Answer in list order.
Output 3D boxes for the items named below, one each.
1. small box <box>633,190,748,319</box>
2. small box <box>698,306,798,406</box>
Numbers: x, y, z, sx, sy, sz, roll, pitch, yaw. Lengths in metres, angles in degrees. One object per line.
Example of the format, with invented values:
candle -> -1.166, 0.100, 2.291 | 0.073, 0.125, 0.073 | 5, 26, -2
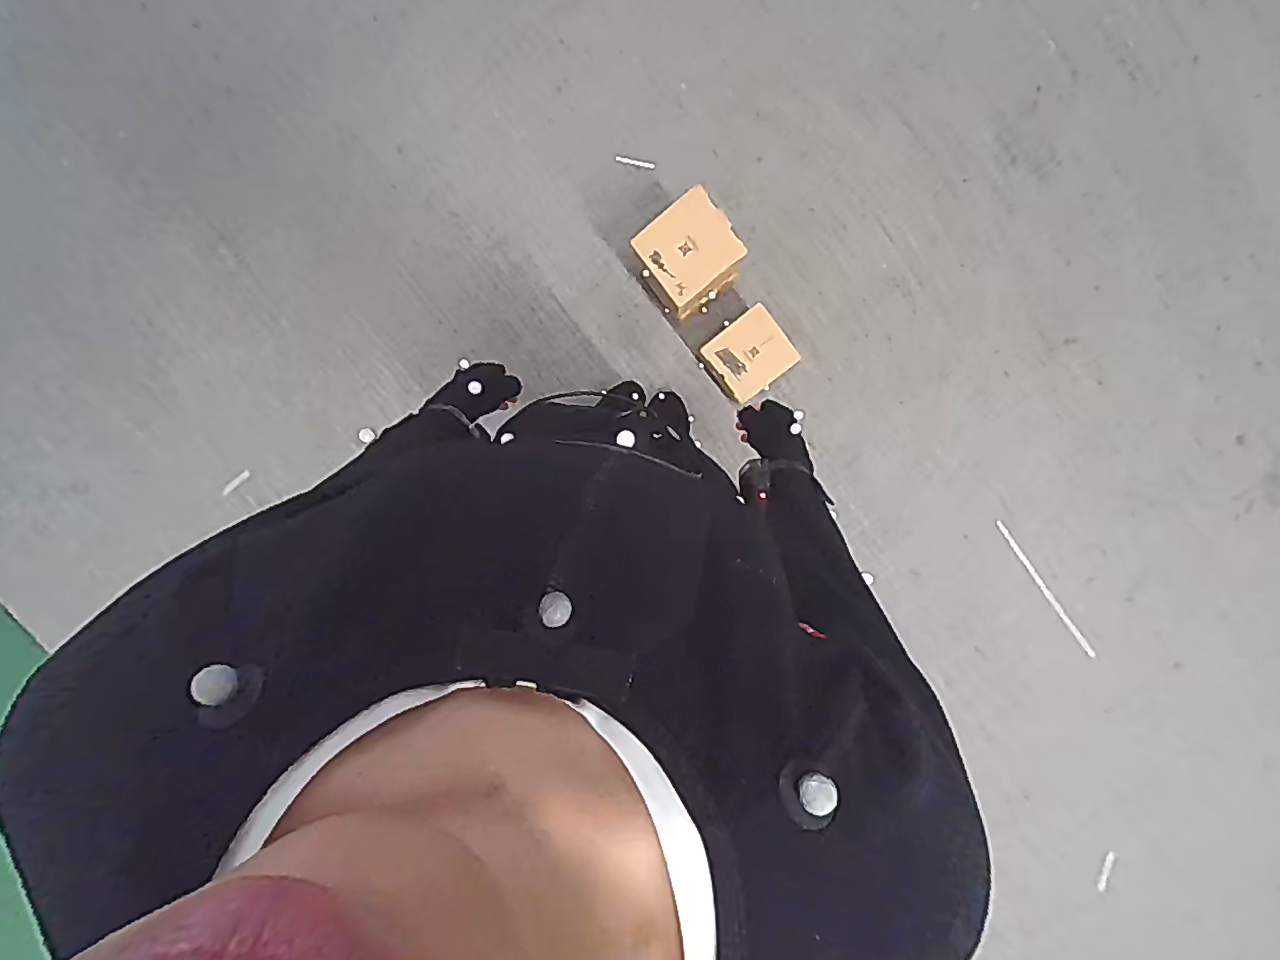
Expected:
small box -> 0.101, -0.467, 1.148 | 0.179, 0.176, 0.168 | -36, 96, 7
small box -> 0.257, -0.297, 1.332 | 0.179, 0.176, 0.168 | -37, 96, 8
